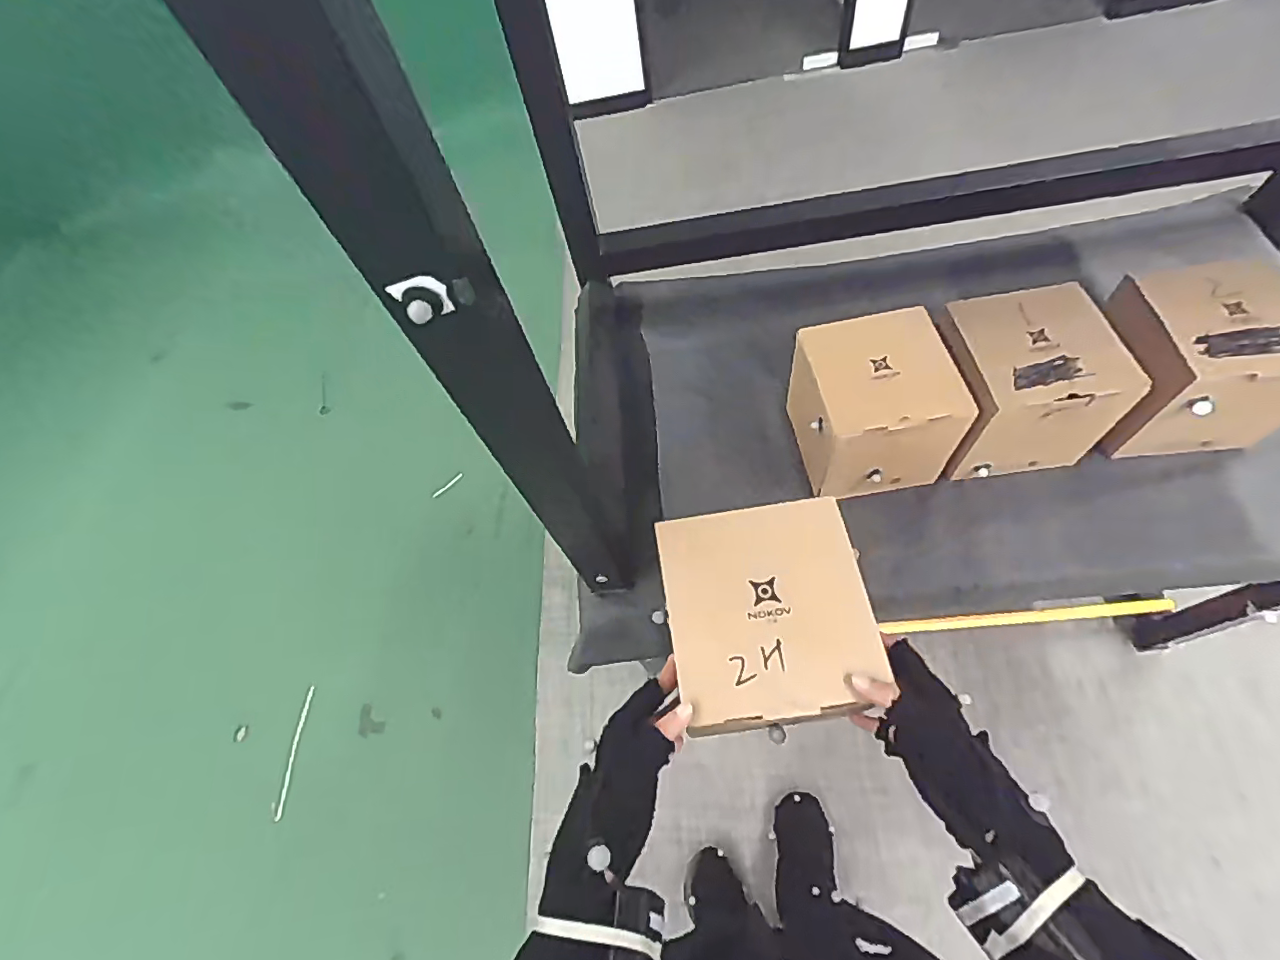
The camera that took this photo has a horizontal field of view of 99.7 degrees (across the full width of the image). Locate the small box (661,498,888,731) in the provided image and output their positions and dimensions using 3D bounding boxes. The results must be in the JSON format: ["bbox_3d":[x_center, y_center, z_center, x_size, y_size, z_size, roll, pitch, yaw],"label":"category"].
[{"bbox_3d":[0.116,0.140,0.539,0.168,0.176,0.179,-9,61,3],"label":"small box"}]
